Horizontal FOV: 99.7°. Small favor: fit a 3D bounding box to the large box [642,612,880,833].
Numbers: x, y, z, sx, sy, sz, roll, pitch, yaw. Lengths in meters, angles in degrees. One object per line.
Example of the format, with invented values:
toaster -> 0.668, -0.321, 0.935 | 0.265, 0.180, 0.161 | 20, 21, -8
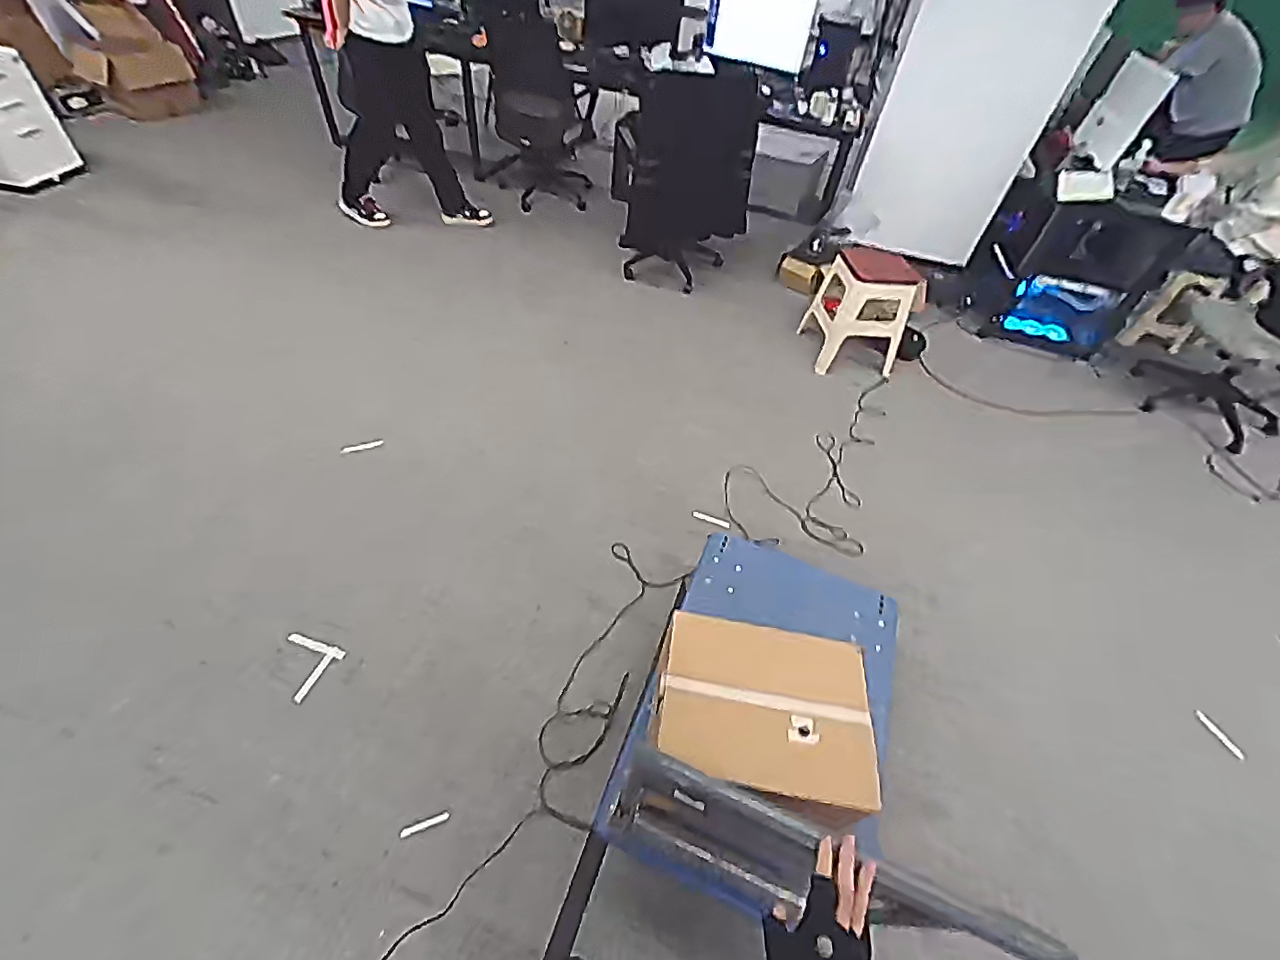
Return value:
large box -> 0.232, 0.524, 1.162 | 0.408, 0.320, 0.320 | 10, 49, 1
